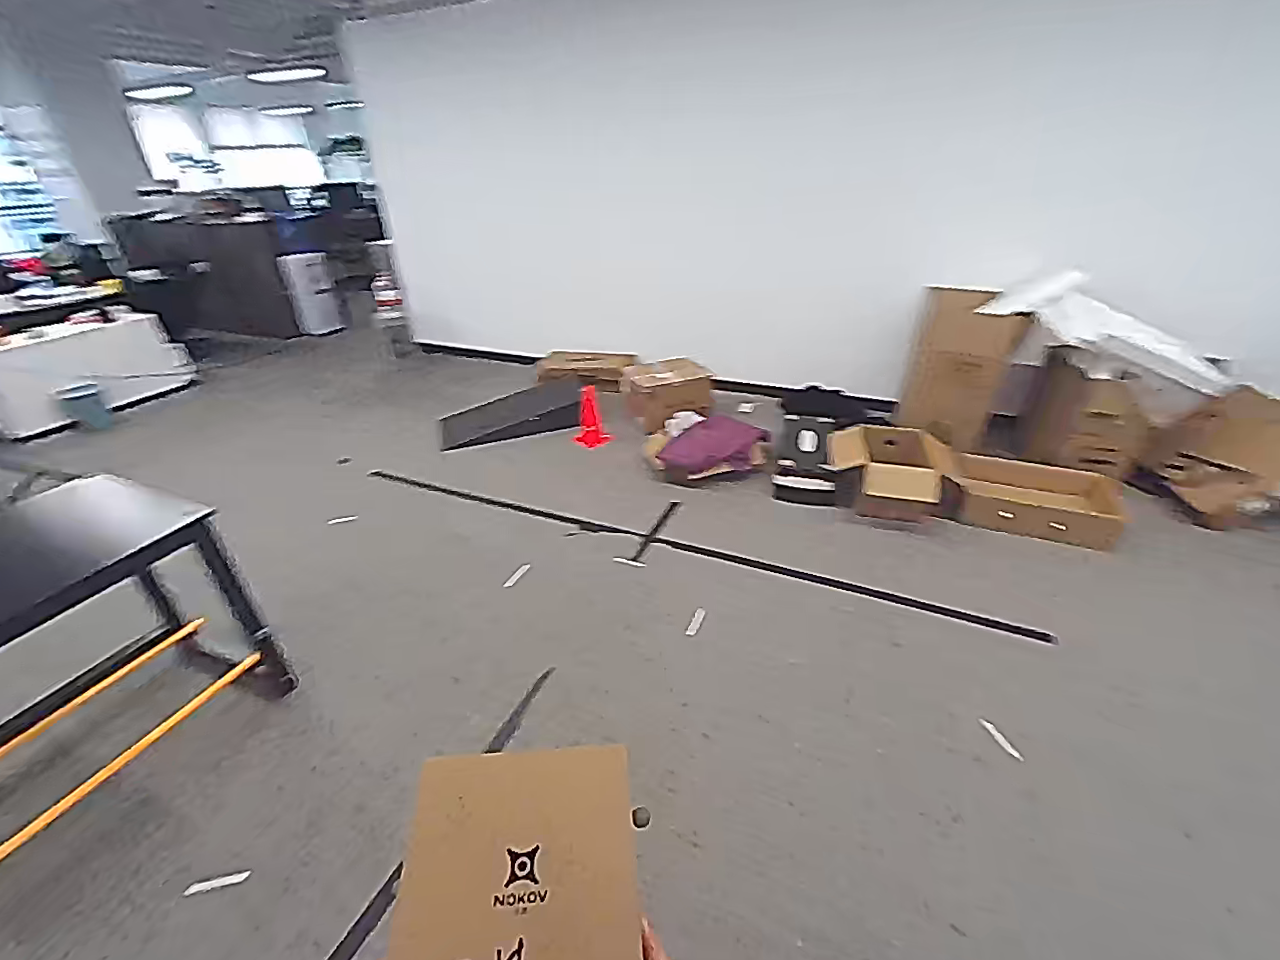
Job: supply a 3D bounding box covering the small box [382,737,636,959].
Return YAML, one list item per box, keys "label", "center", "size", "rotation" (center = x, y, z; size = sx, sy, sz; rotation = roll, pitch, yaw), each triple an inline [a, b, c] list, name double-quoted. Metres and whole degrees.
- label: "small box"
  center: [-0.094, 0.336, 0.440]
  size: [0.168, 0.176, 0.179]
  rotation: [-2, 44, -7]
